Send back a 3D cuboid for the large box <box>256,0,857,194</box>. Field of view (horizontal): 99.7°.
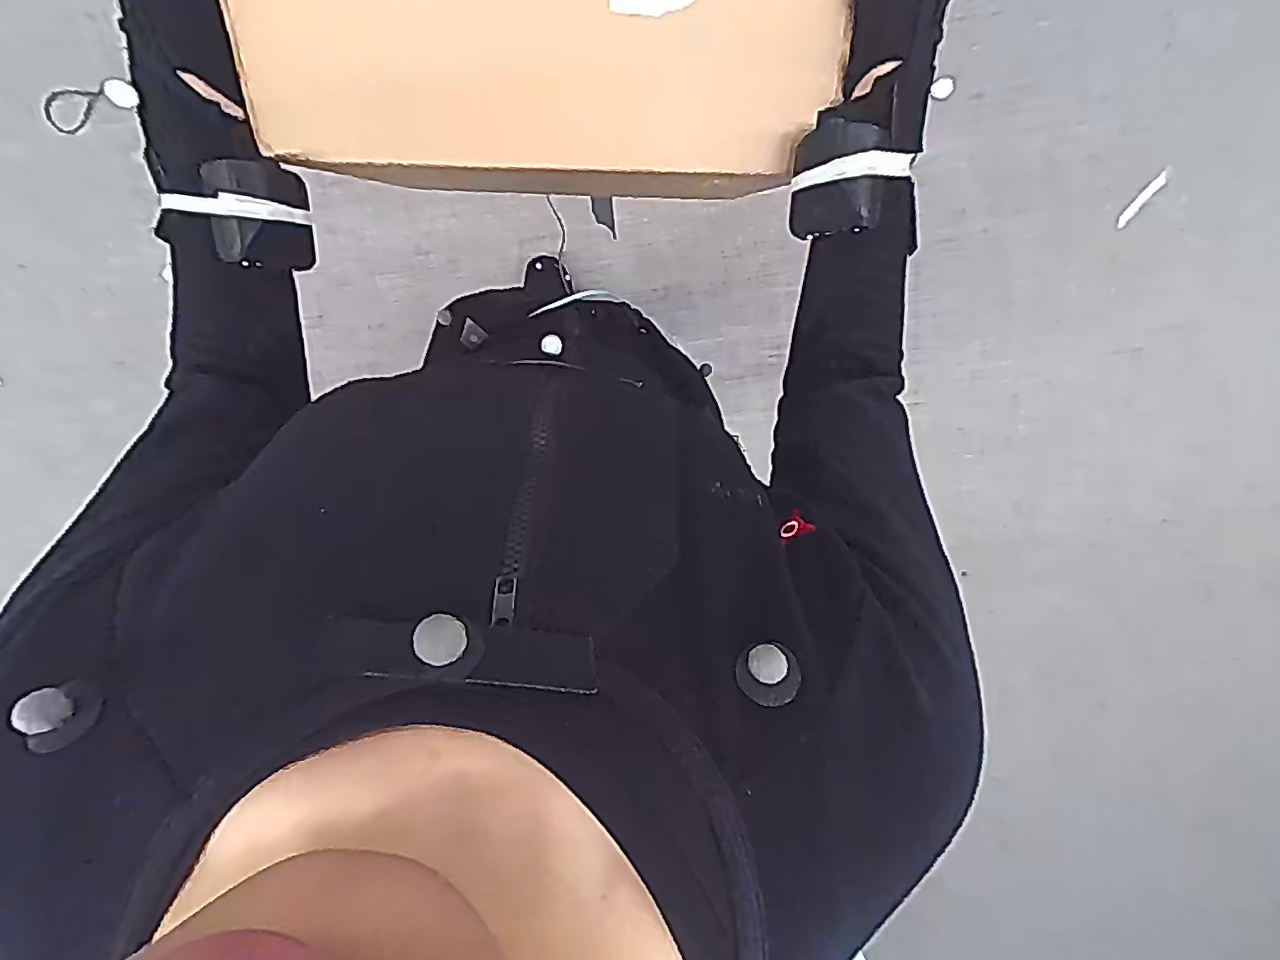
[{"bbox_3d":[-0.060,-0.431,0.468,0.408,0.320,0.320,-1,116,-4],"label":"large box"}]
